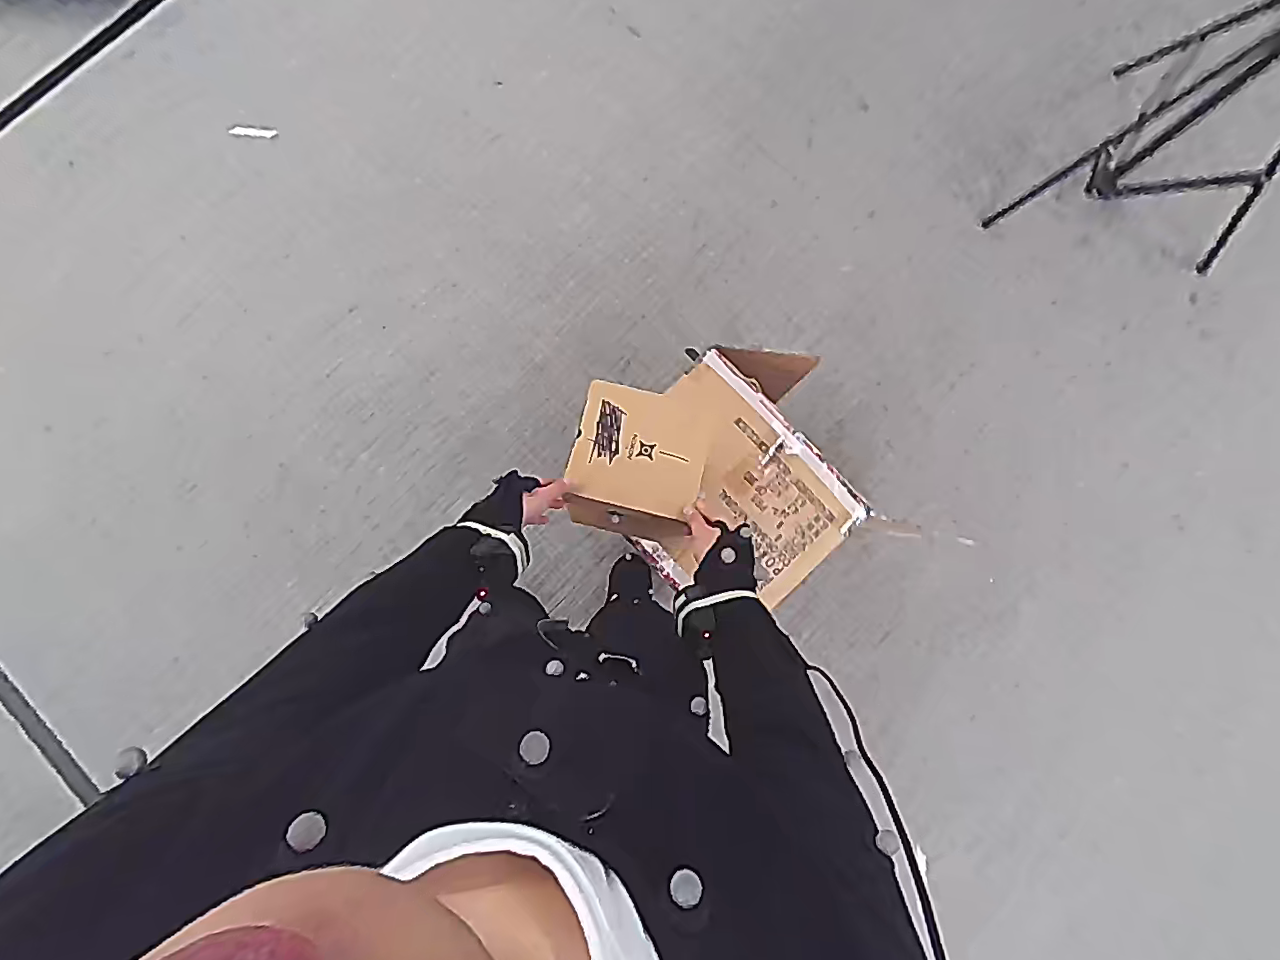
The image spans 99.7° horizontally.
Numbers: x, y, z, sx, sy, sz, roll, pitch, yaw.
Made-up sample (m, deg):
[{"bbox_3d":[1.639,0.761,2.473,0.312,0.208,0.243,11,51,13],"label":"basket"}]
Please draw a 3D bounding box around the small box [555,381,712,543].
[{"bbox_3d":[-0.009,-0.016,0.779,0.179,0.176,0.168,13,72,2],"label":"small box"}]
